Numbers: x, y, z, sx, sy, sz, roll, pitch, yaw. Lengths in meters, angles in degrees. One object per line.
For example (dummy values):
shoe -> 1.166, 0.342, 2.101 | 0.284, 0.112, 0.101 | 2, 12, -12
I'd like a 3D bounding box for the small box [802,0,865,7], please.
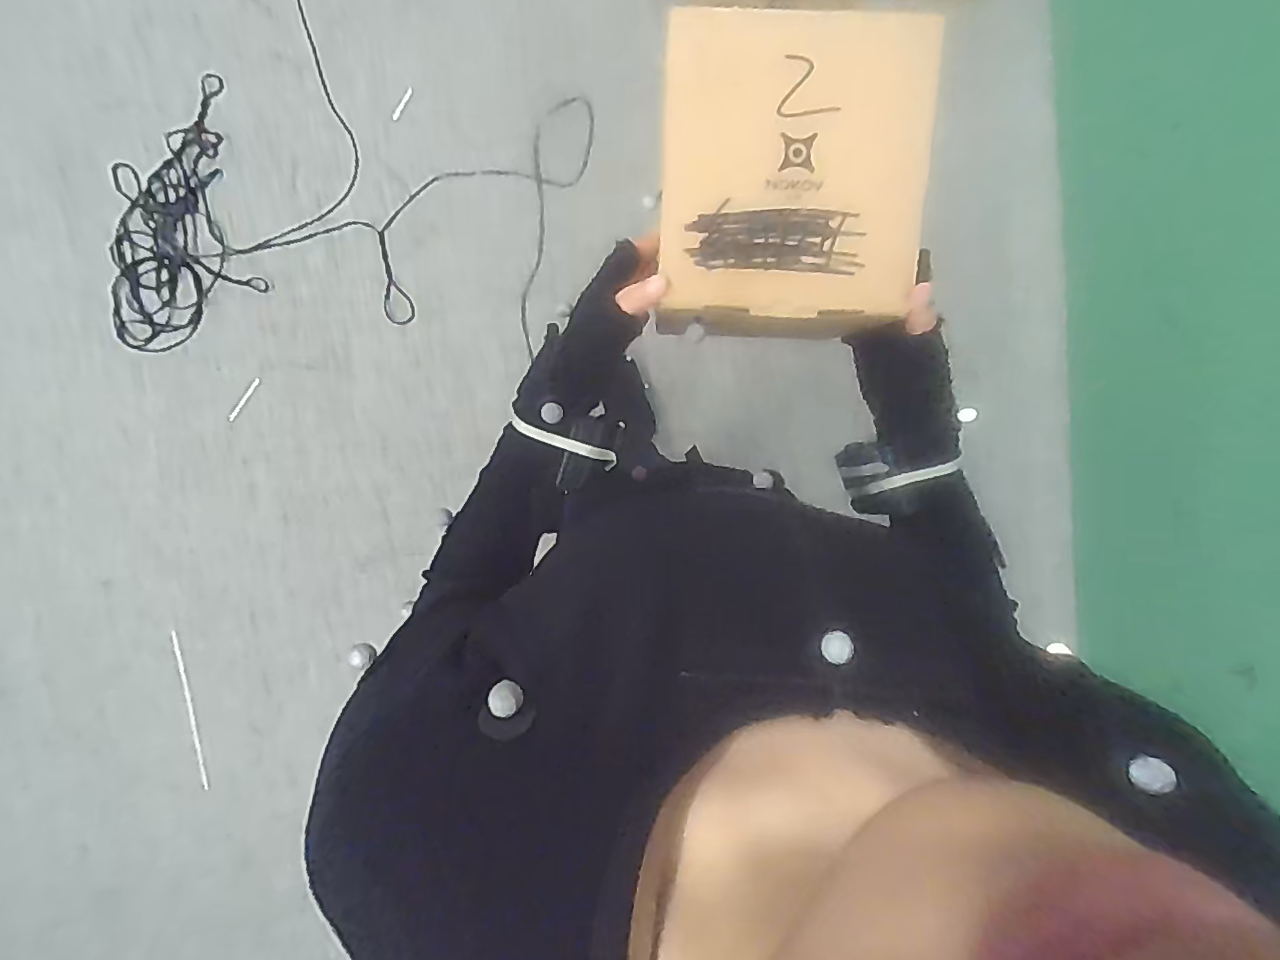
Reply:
small box -> 0.481, -1.270, 1.280 | 0.168, 0.176, 0.179 | -7, 94, 1
